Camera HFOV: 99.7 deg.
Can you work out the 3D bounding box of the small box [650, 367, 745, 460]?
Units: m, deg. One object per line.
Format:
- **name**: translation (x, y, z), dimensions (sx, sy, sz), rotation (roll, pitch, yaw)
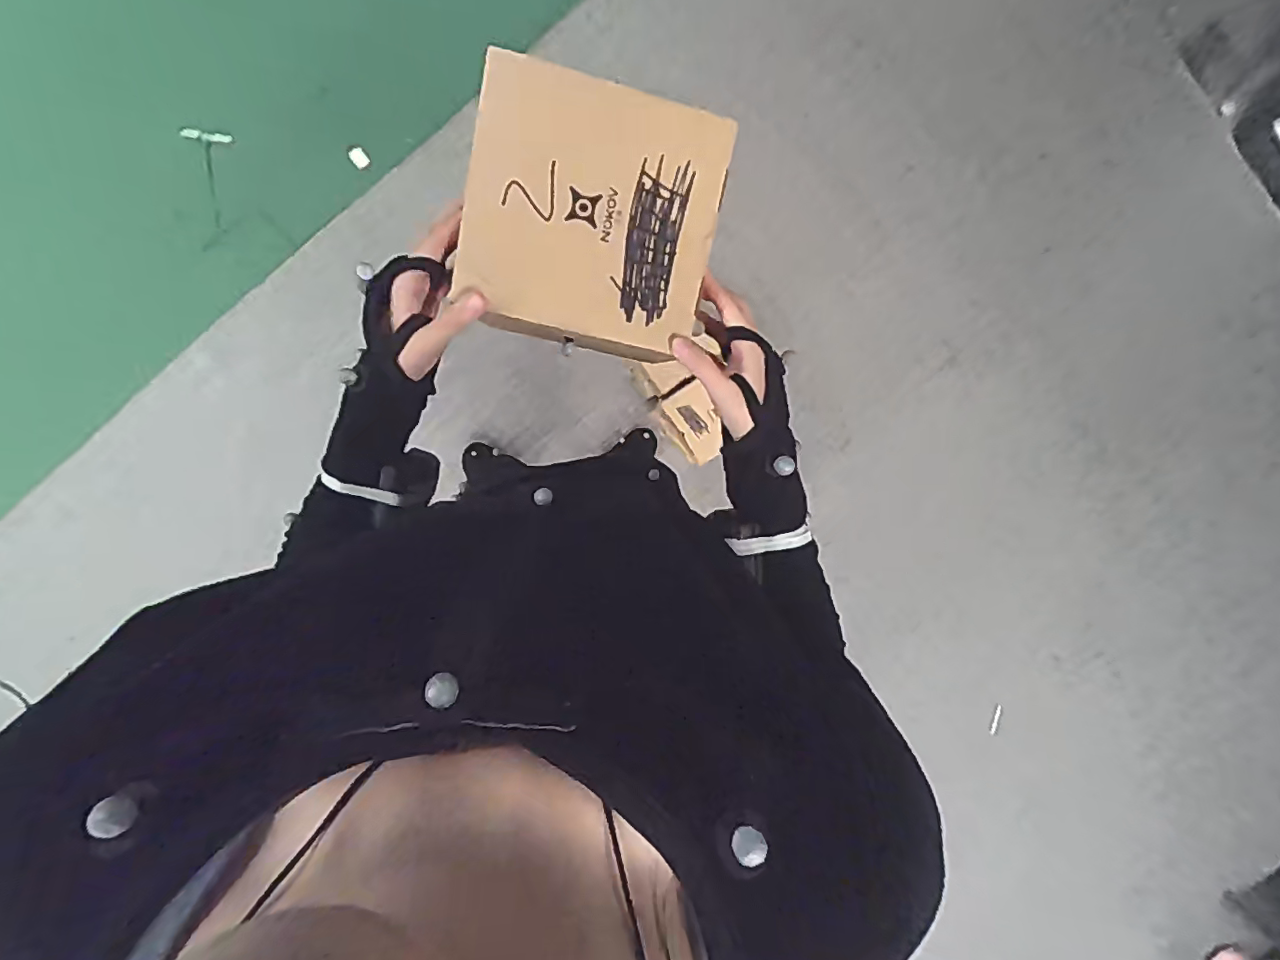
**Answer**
- **small box**: translation (0.141, -0.178, 1.410), dimensions (0.179, 0.176, 0.168), rotation (-40, 99, 5)
